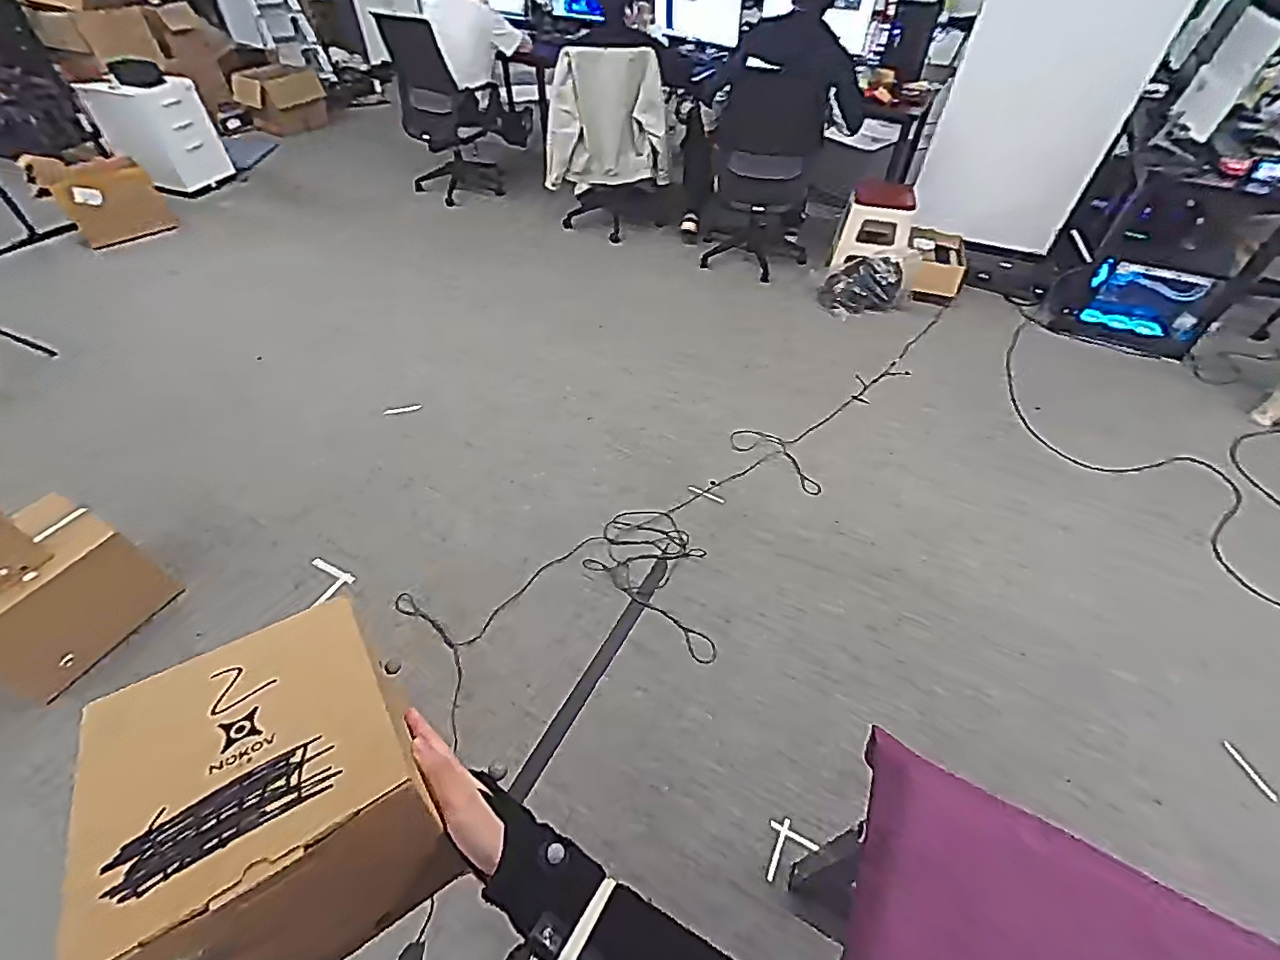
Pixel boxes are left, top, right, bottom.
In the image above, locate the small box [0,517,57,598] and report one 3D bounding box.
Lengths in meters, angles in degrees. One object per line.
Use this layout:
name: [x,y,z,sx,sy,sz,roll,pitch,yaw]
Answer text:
small box: [-1.625,0.171,1.328,0.179,0.176,0.168,21,51,16]
